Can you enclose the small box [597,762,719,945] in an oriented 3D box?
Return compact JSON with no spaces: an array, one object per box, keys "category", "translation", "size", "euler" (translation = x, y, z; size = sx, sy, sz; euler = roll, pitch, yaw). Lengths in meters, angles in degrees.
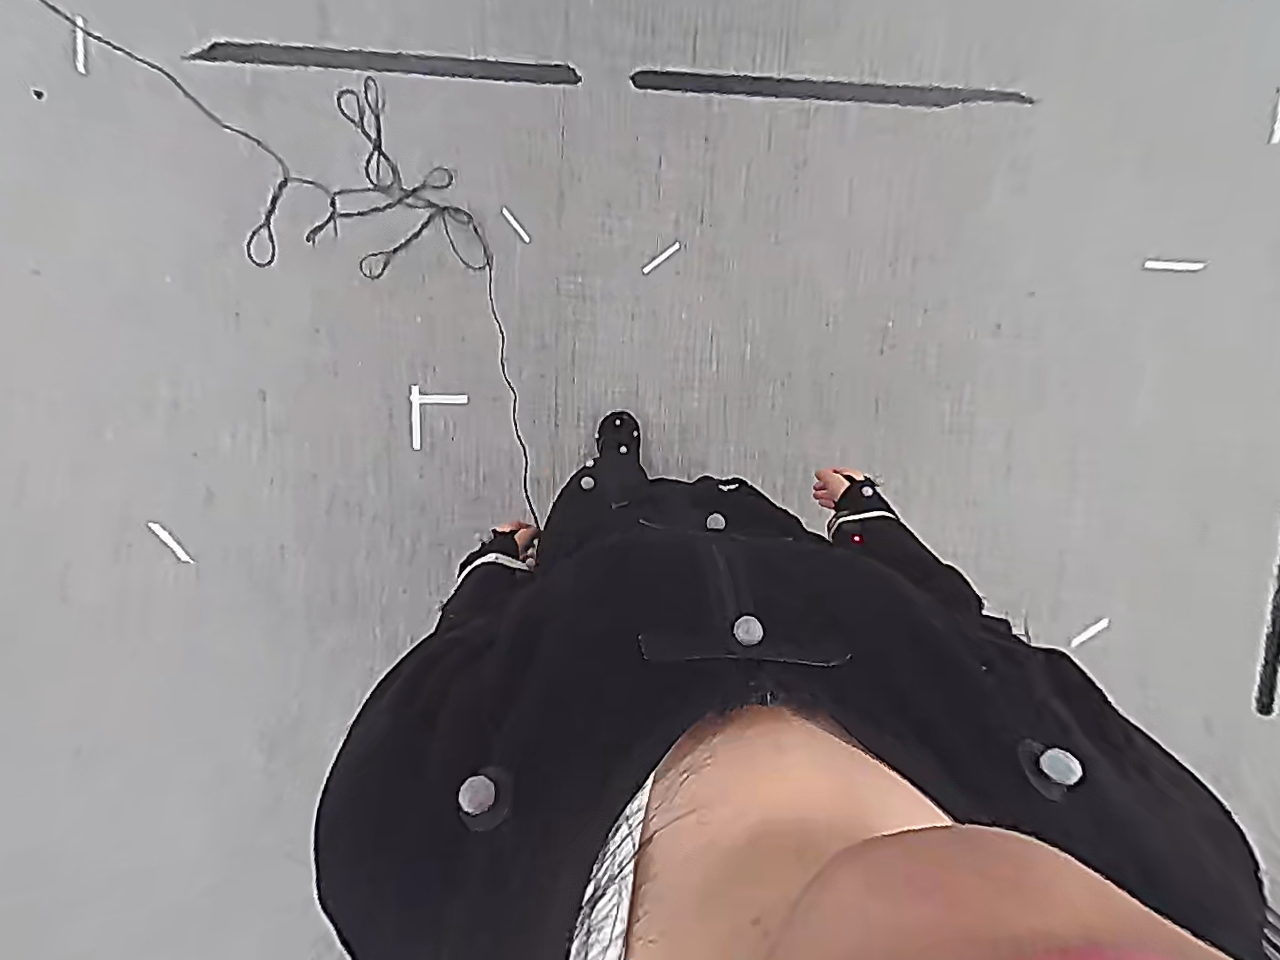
[{"category":"small box","translation":[0.026,0.589,0.875],"size":[0.168,0.176,0.179],"euler":[6,95,0]}]
